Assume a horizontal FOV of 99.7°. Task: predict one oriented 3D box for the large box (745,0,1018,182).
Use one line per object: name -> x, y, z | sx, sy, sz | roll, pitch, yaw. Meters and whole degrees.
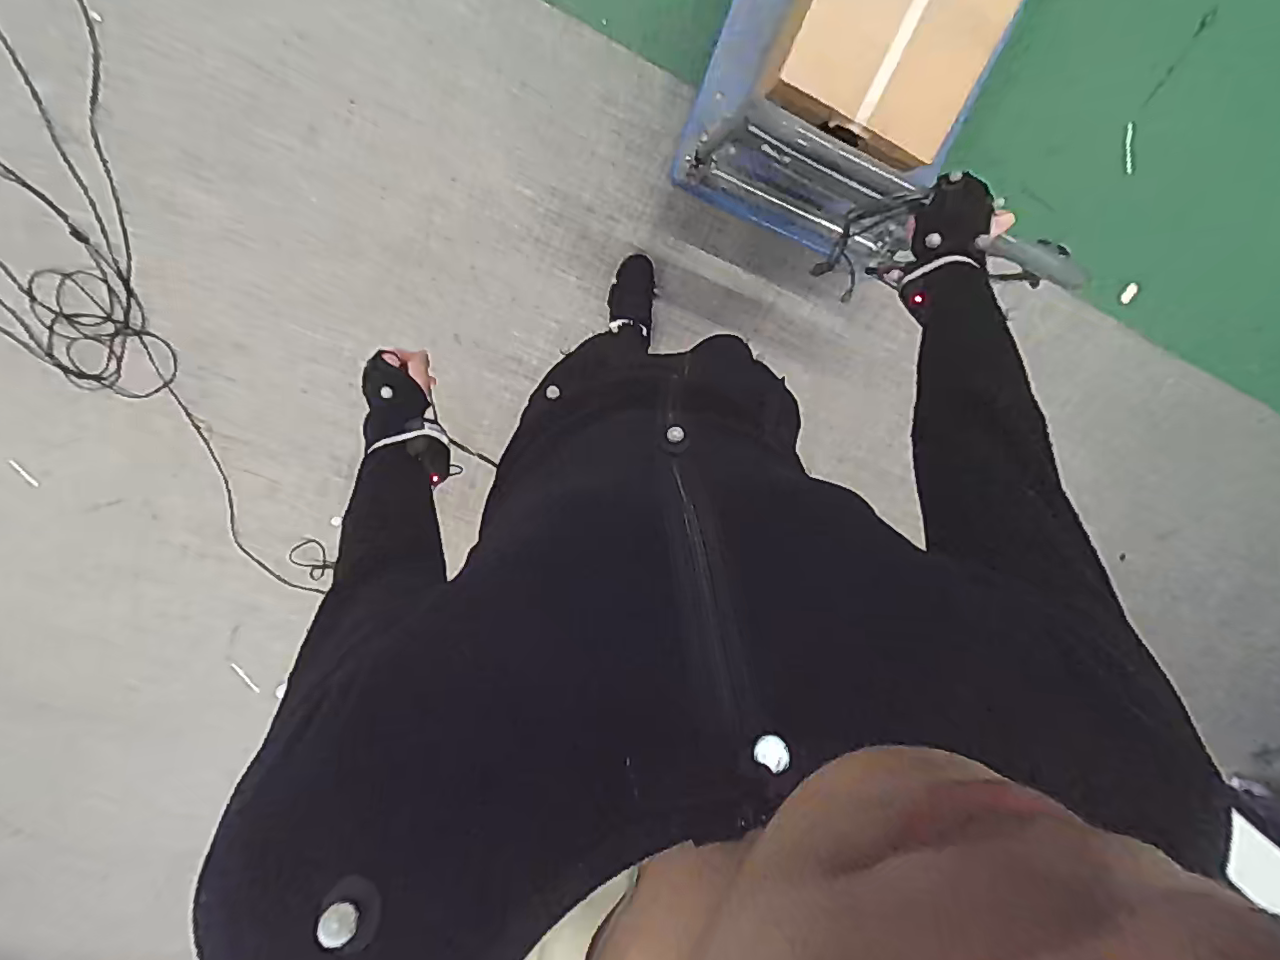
large box -> 0.442, -0.839, 0.992 | 0.320, 0.320, 0.408 | 22, 108, -12
